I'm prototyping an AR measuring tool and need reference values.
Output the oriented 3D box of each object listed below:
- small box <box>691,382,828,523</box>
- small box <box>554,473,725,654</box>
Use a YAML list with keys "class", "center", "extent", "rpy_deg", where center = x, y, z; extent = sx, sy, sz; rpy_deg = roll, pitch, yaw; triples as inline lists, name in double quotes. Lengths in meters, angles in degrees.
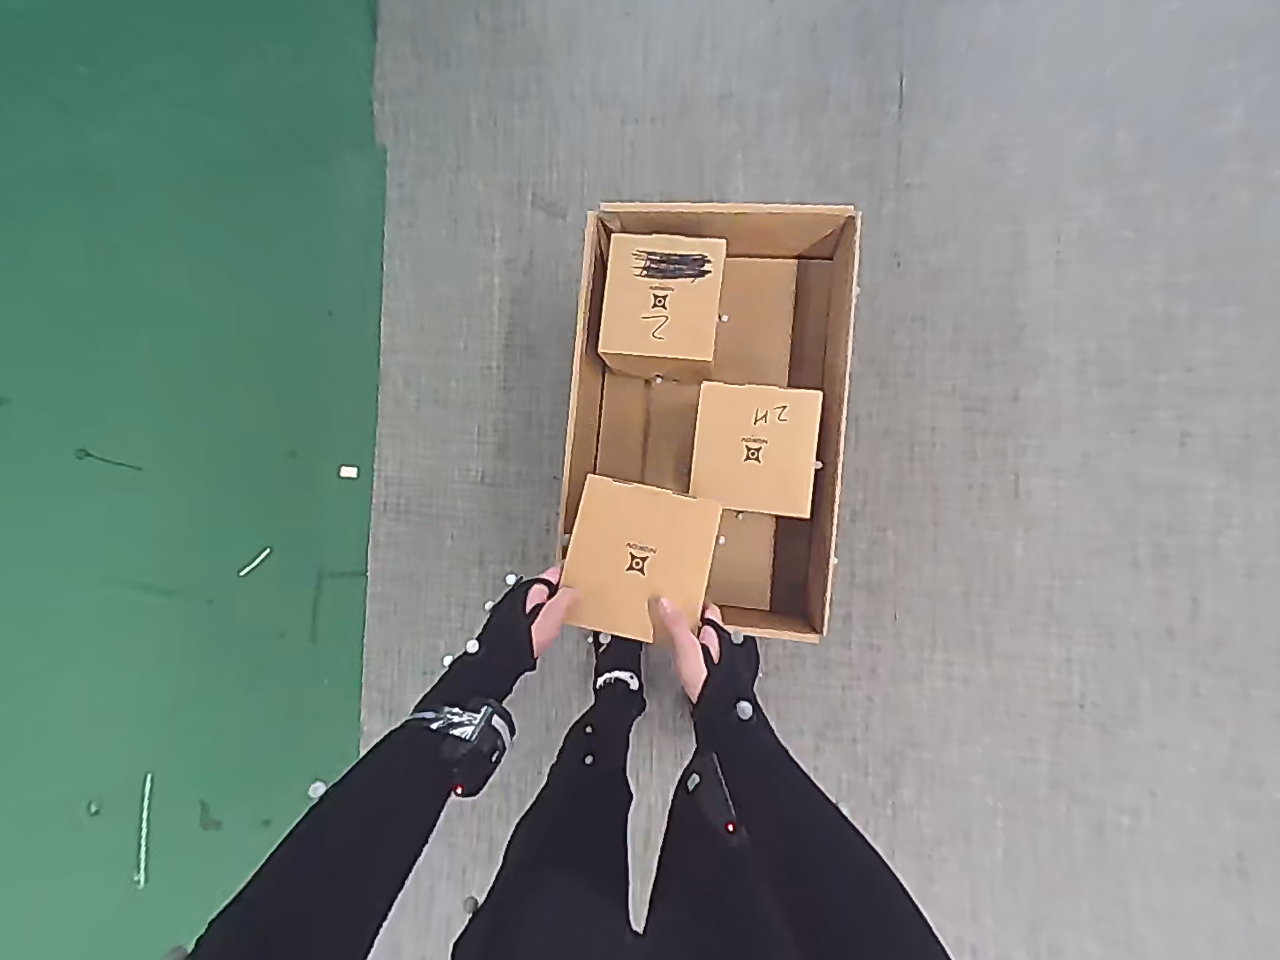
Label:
- class: "small box"
  center: [0.170, -0.036, 0.806]
  extent: [0.168, 0.176, 0.179]
  rpy_deg: [7, 89, 8]
- class: "small box"
  center: [0.003, 0.111, 0.688]
  extent: [0.168, 0.176, 0.179]
  rpy_deg: [12, 75, 3]
